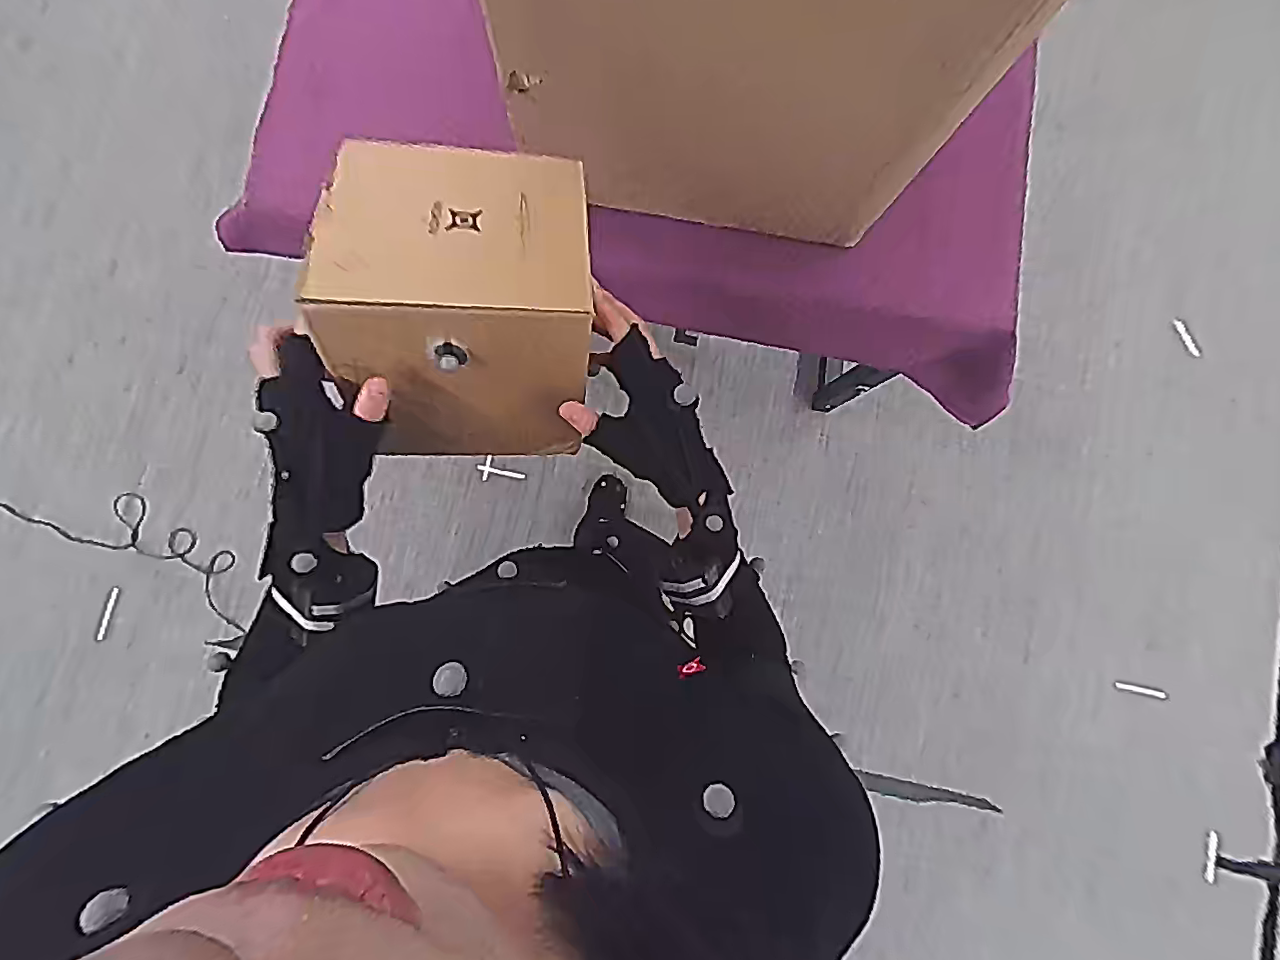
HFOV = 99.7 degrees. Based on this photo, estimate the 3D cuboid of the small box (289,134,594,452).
[{"bbox_3d":[-0.131,-0.133,0.424,0.179,0.176,0.168,0,61,-11],"label":"small box"}]
